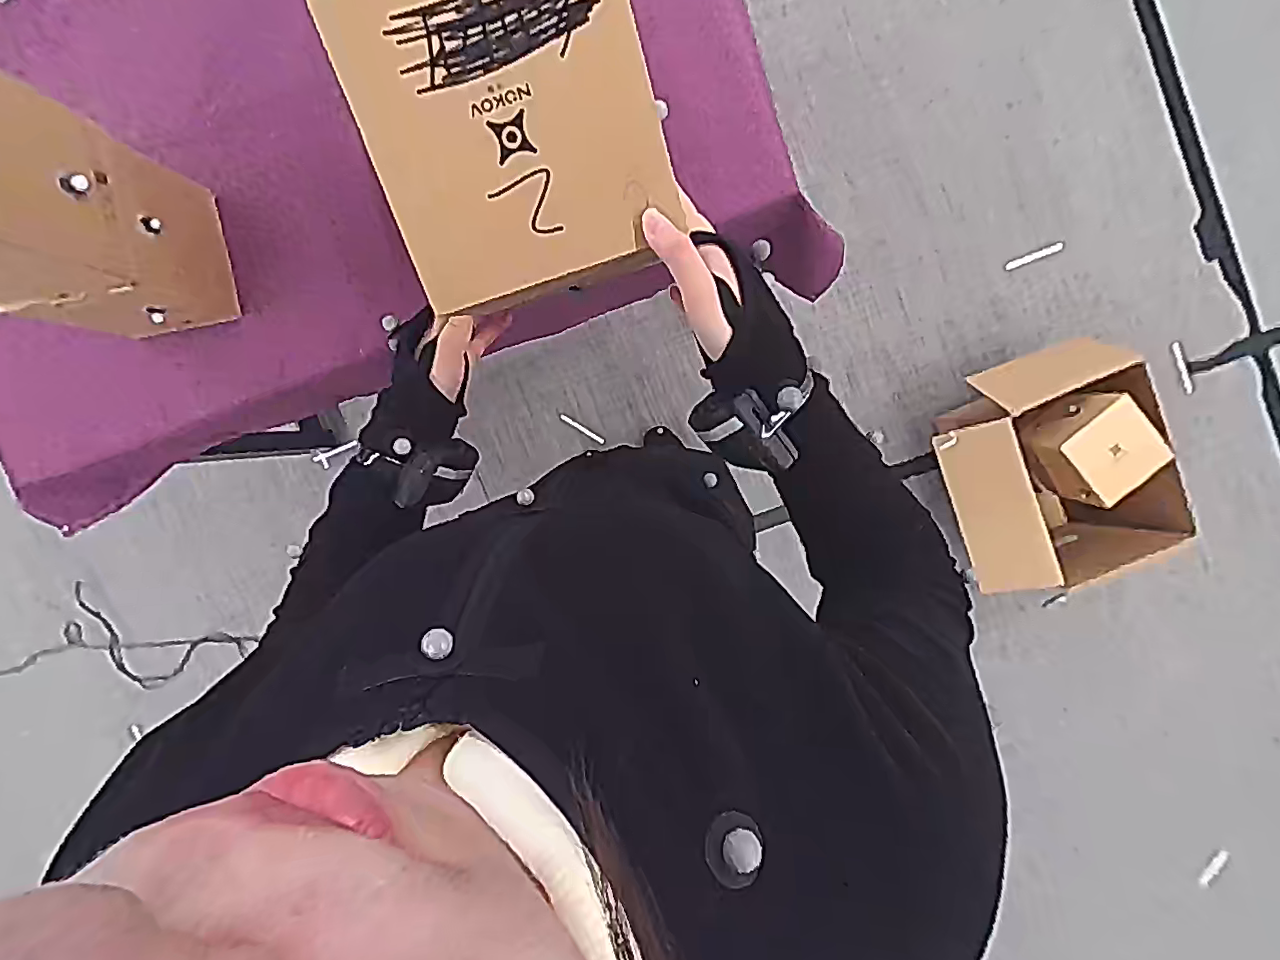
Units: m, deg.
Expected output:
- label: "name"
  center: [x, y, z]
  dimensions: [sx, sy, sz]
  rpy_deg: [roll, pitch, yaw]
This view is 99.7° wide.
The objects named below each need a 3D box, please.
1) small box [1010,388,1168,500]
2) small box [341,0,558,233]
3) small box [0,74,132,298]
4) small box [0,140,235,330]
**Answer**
- label: "small box"
  center: [0.975, -0.083, 1.193]
  dimensions: [0.168, 0.176, 0.179]
  rpy_deg: [-42, 97, 7]
- label: "small box"
  center: [-0.210, -0.421, 0.649]
  dimensions: [0.168, 0.176, 0.179]
  rpy_deg: [-17, 94, 3]
- label: "small box"
  center: [-0.655, -0.282, 0.513]
  dimensions: [0.179, 0.176, 0.168]
  rpy_deg: [-8, 96, 1]
- label: "small box"
  center: [-0.656, -0.294, 0.676]
  dimensions: [0.168, 0.176, 0.179]
  rpy_deg: [-9, 95, 2]
